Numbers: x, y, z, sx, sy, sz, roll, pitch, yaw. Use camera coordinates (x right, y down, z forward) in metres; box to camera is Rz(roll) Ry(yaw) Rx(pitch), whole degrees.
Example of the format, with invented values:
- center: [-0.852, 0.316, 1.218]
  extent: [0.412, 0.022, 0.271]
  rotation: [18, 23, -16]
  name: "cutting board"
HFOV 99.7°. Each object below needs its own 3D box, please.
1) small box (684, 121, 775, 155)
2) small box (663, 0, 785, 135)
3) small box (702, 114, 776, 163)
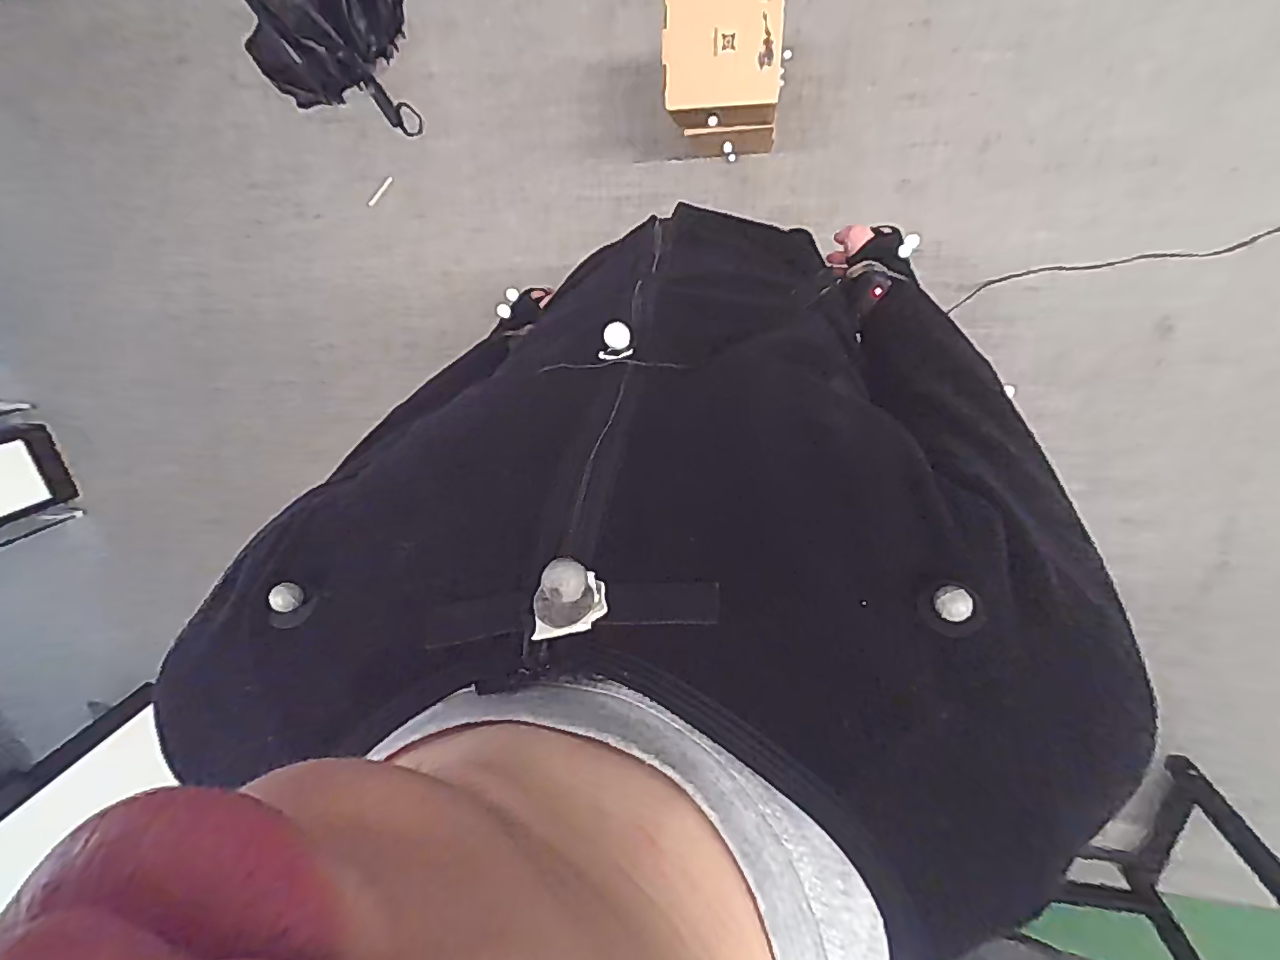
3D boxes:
- center: [0.171, -0.735, 1.025]
  extent: [0.168, 0.176, 0.179]
  rotation: [2, 114, 11]
  name: "small box"
- center: [0.137, -0.673, 0.877]
  extent: [0.179, 0.176, 0.168]
  rotation: [4, 114, 11]
  name: "small box"
- center: [0.208, -0.803, 1.170]
  extent: [0.168, 0.176, 0.179]
  rotation: [0, 114, 12]
  name: "small box"
